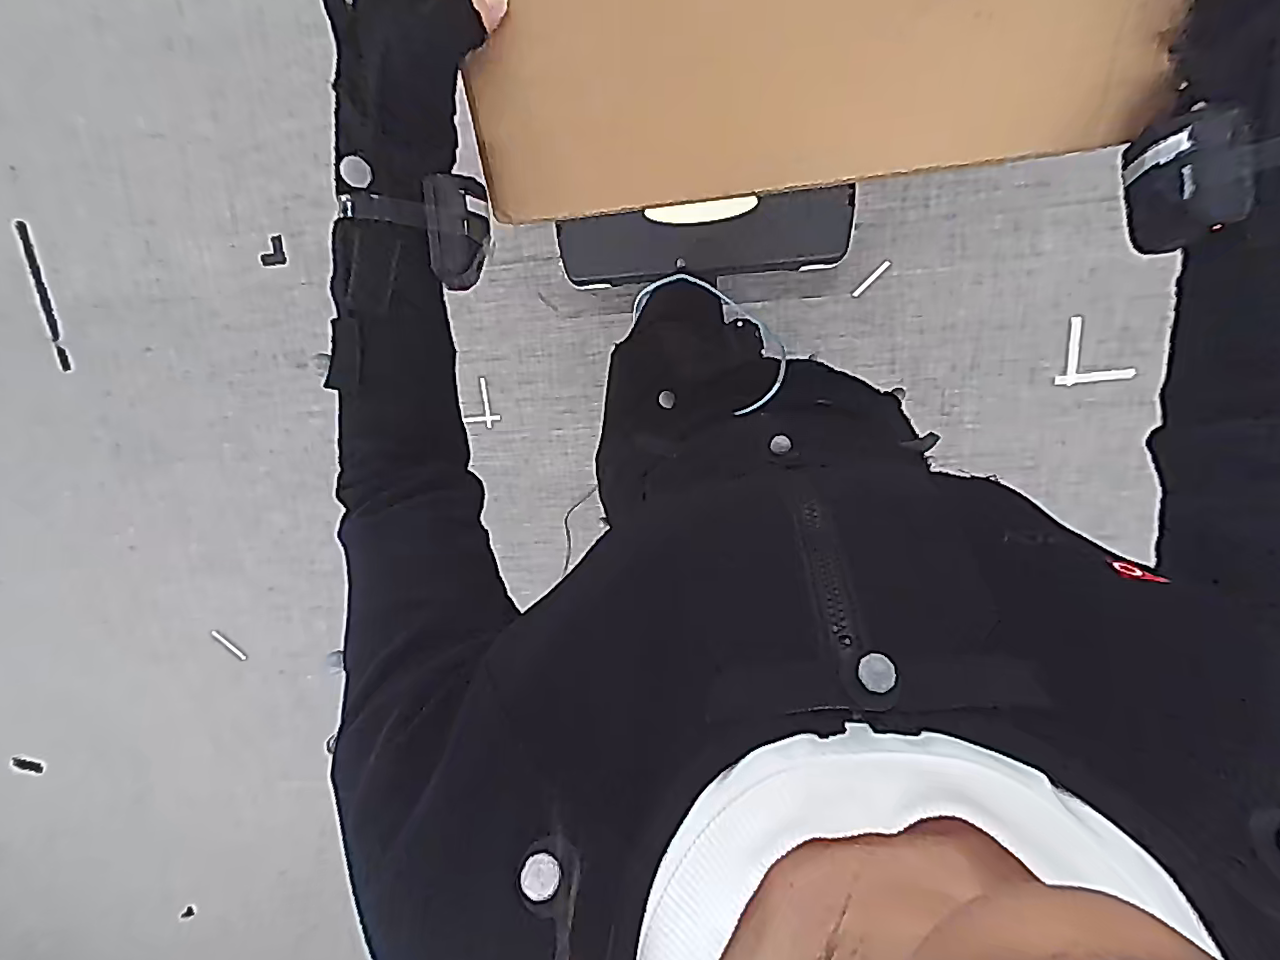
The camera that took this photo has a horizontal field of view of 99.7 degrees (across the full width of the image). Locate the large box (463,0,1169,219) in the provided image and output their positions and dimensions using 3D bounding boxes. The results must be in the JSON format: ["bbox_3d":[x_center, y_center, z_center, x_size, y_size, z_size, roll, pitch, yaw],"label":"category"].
[{"bbox_3d":[0.096,-0.402,0.414,0.408,0.320,0.320,-4,118,8],"label":"large box"}]
